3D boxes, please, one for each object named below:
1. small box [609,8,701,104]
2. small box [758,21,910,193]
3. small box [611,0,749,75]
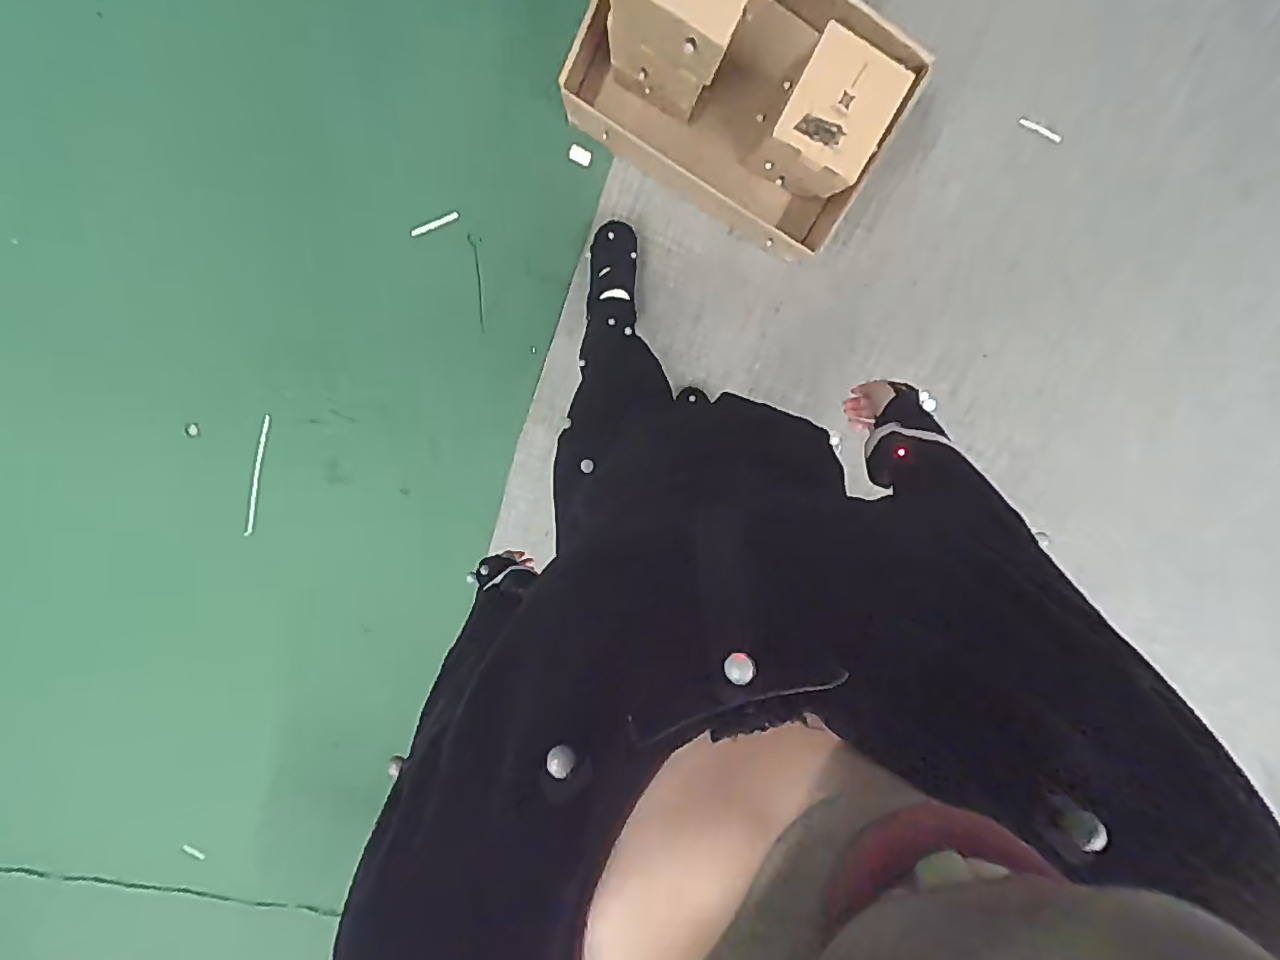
[{"bbox_3d":[0.058,-0.778,0.902,0.168,0.176,0.179,26,110,-11],"label":"small box"},{"bbox_3d":[0.325,-0.638,0.955,0.168,0.176,0.179,26,108,-9],"label":"small box"},{"bbox_3d":[0.071,-0.708,0.753,0.179,0.176,0.168,25,109,-11],"label":"small box"}]
